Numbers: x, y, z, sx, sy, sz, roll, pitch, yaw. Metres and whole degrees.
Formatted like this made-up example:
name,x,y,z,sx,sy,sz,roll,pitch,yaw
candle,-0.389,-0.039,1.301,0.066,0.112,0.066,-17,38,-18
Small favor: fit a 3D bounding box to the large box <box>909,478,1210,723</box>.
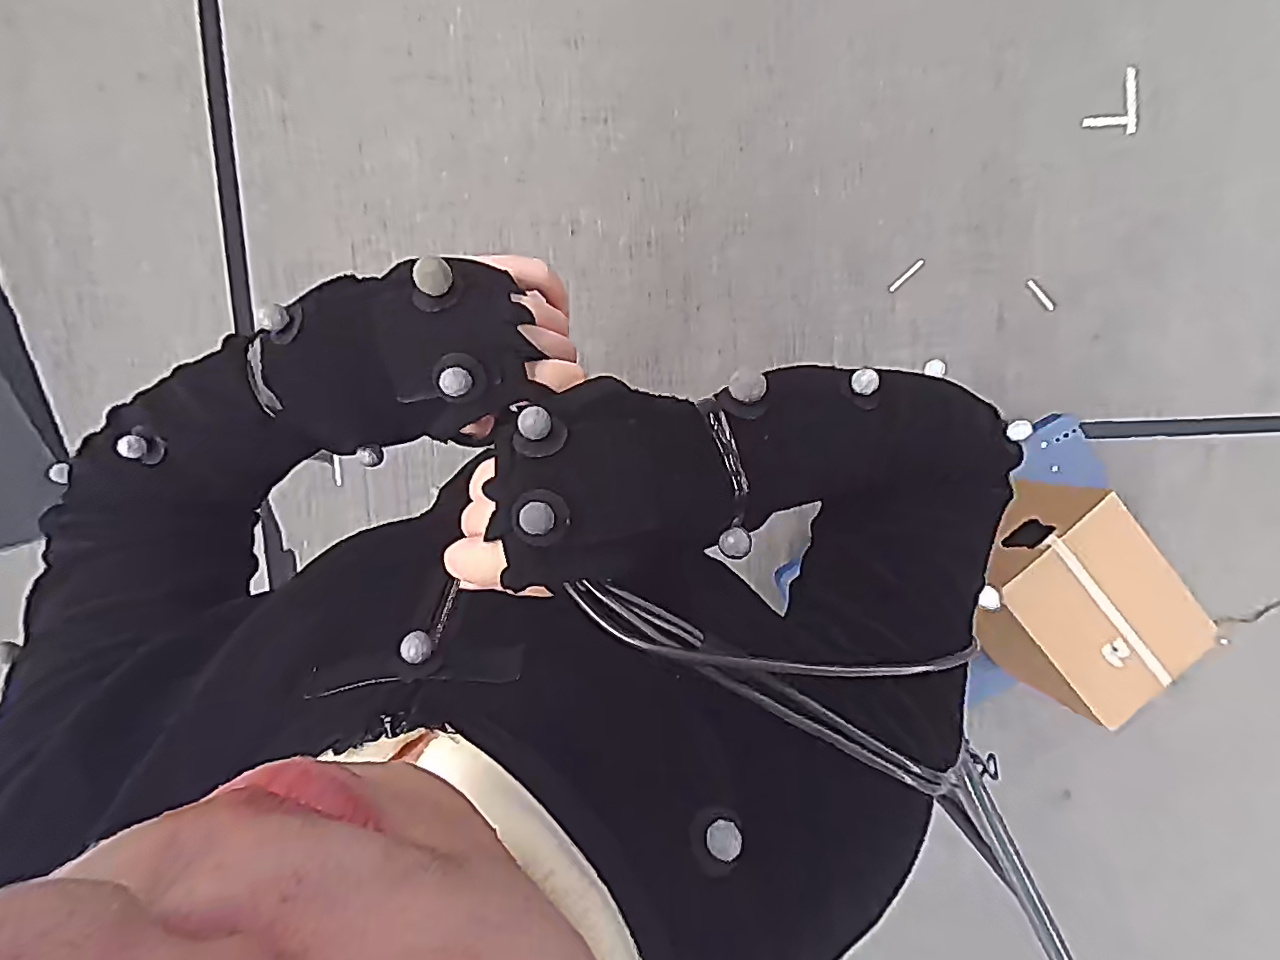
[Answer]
name,x,y,z,sx,sy,sz,roll,pitch,yaw
large box,0.929,0.249,1.246,0.320,0.320,0.408,-41,97,1
